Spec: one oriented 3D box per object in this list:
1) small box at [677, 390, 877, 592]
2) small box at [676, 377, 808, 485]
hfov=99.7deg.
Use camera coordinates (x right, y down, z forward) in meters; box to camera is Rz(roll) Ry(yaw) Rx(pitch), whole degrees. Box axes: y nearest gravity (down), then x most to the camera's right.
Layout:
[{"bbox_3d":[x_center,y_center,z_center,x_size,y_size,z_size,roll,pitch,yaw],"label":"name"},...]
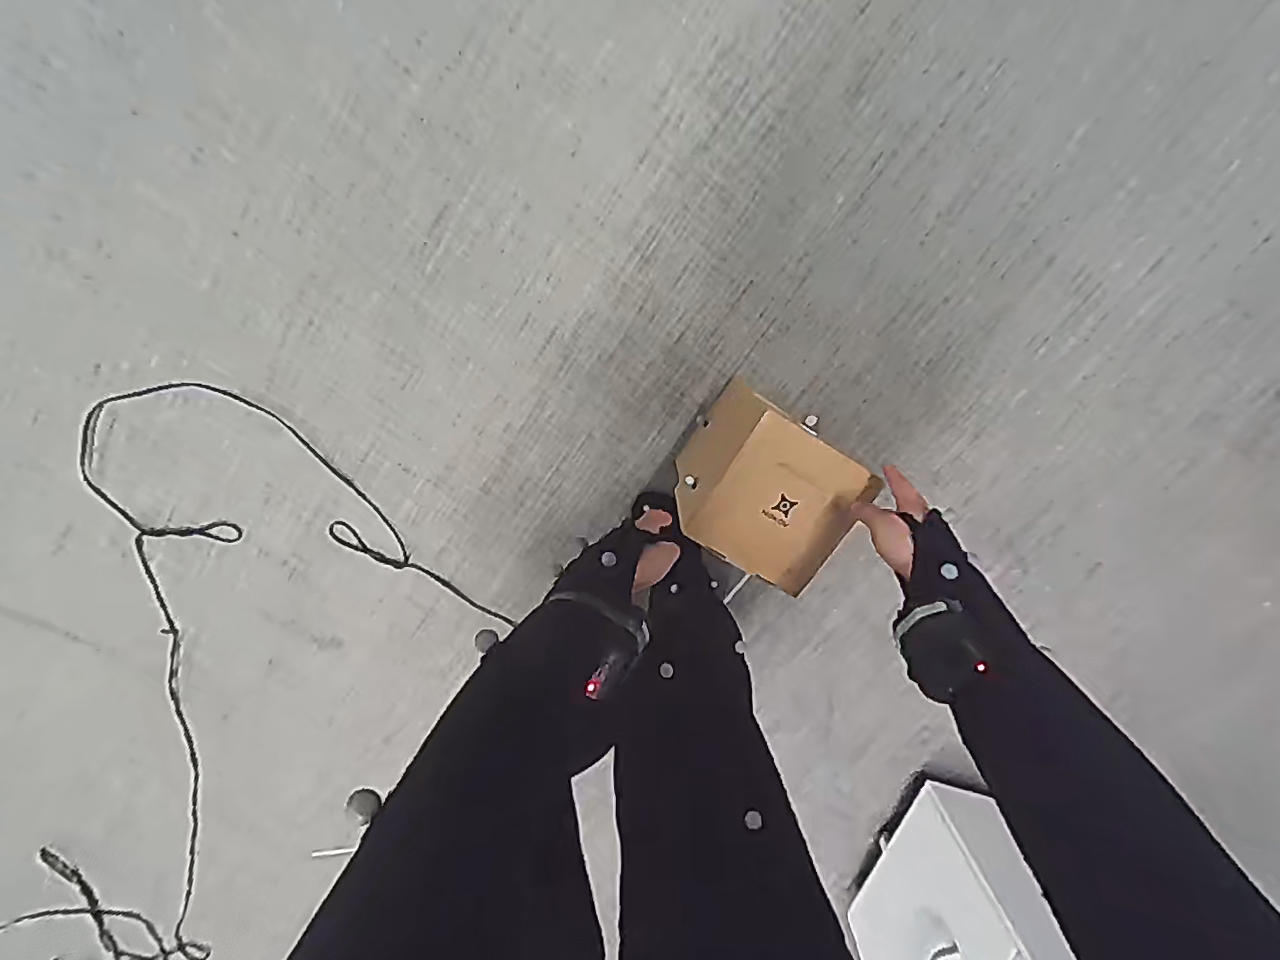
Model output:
[{"bbox_3d":[0.159,0.005,0.700,0.168,0.176,0.179,29,105,-10],"label":"small box"},{"bbox_3d":[0.170,-0.041,0.856,0.168,0.176,0.179,33,105,-9],"label":"small box"}]
